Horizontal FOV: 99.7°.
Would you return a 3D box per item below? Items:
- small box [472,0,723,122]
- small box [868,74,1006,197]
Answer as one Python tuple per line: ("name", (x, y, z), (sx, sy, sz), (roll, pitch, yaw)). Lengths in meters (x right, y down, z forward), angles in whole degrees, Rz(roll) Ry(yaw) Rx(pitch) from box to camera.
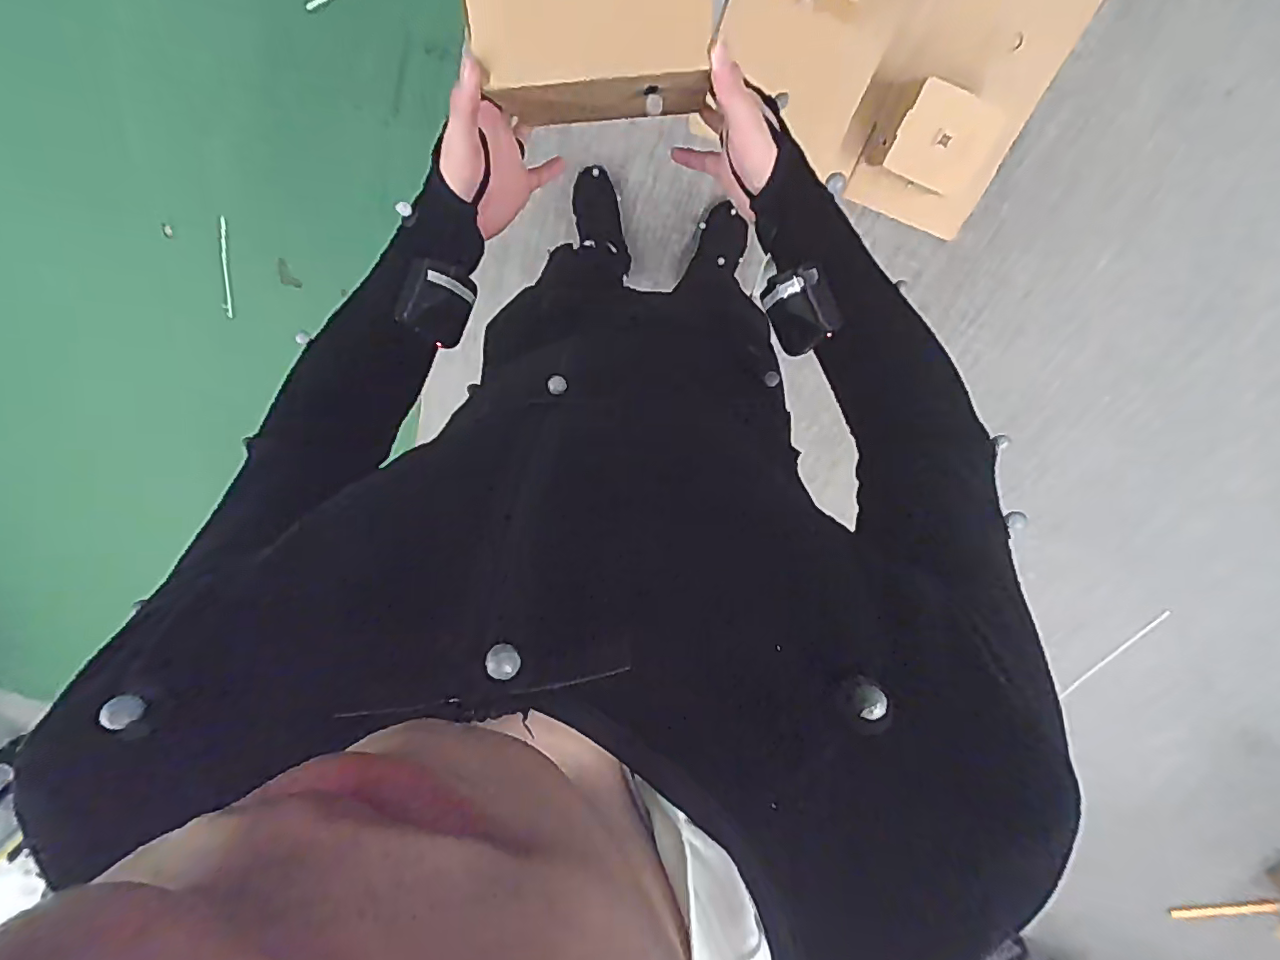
("small box", (-0.028, -0.398, 0.429), (0.179, 0.176, 0.168), (-1, 115, 5))
("small box", (0.613, -0.721, 1.145), (0.179, 0.176, 0.168), (22, 123, -3))
